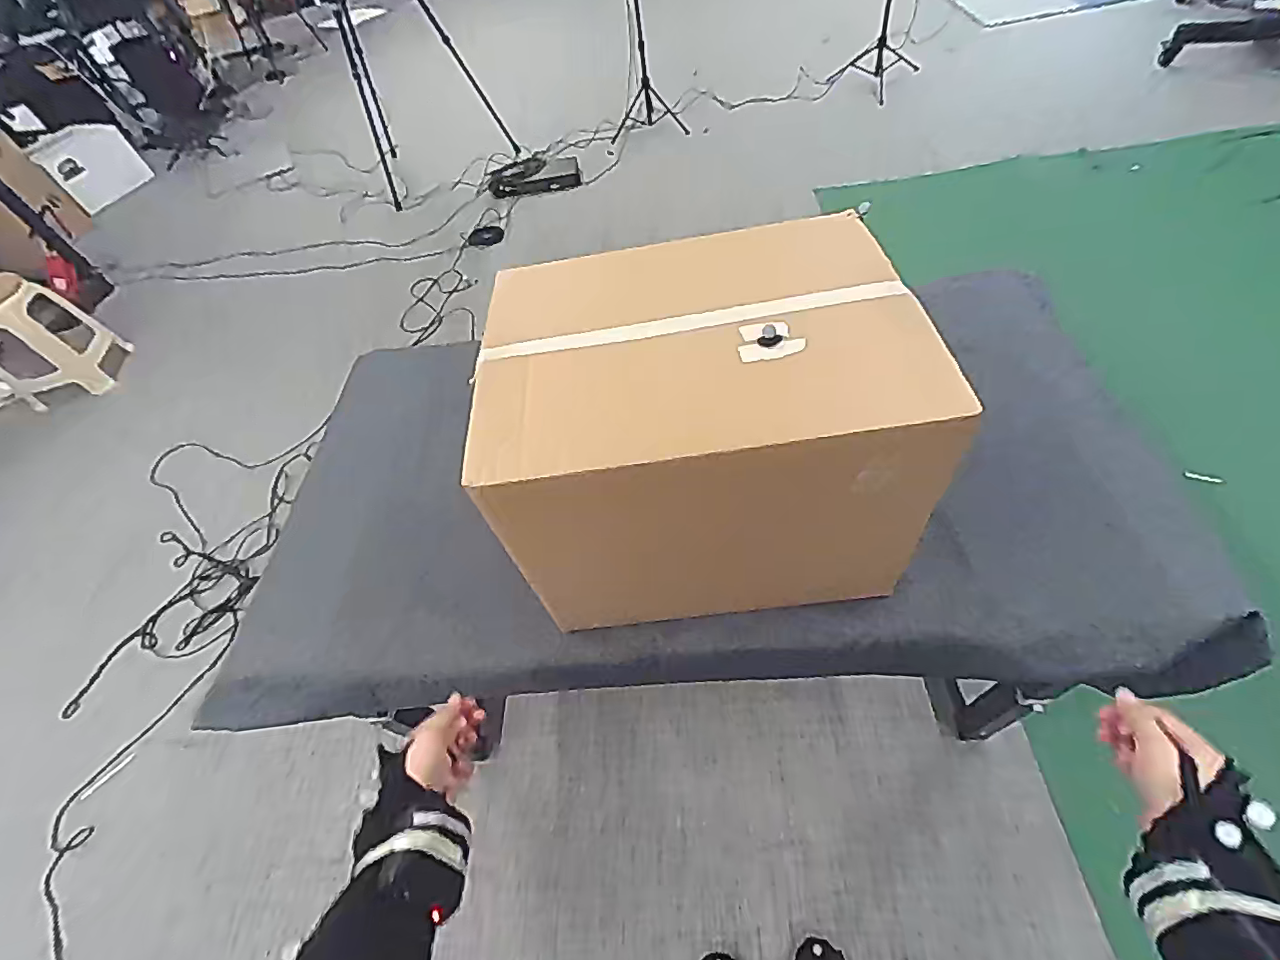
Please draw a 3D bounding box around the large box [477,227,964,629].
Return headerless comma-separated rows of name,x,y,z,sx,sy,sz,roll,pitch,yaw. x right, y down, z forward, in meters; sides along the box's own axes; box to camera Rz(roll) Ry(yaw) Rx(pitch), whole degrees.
large box,0.067,-0.049,0.639,0.408,0.320,0.320,-7,52,3
